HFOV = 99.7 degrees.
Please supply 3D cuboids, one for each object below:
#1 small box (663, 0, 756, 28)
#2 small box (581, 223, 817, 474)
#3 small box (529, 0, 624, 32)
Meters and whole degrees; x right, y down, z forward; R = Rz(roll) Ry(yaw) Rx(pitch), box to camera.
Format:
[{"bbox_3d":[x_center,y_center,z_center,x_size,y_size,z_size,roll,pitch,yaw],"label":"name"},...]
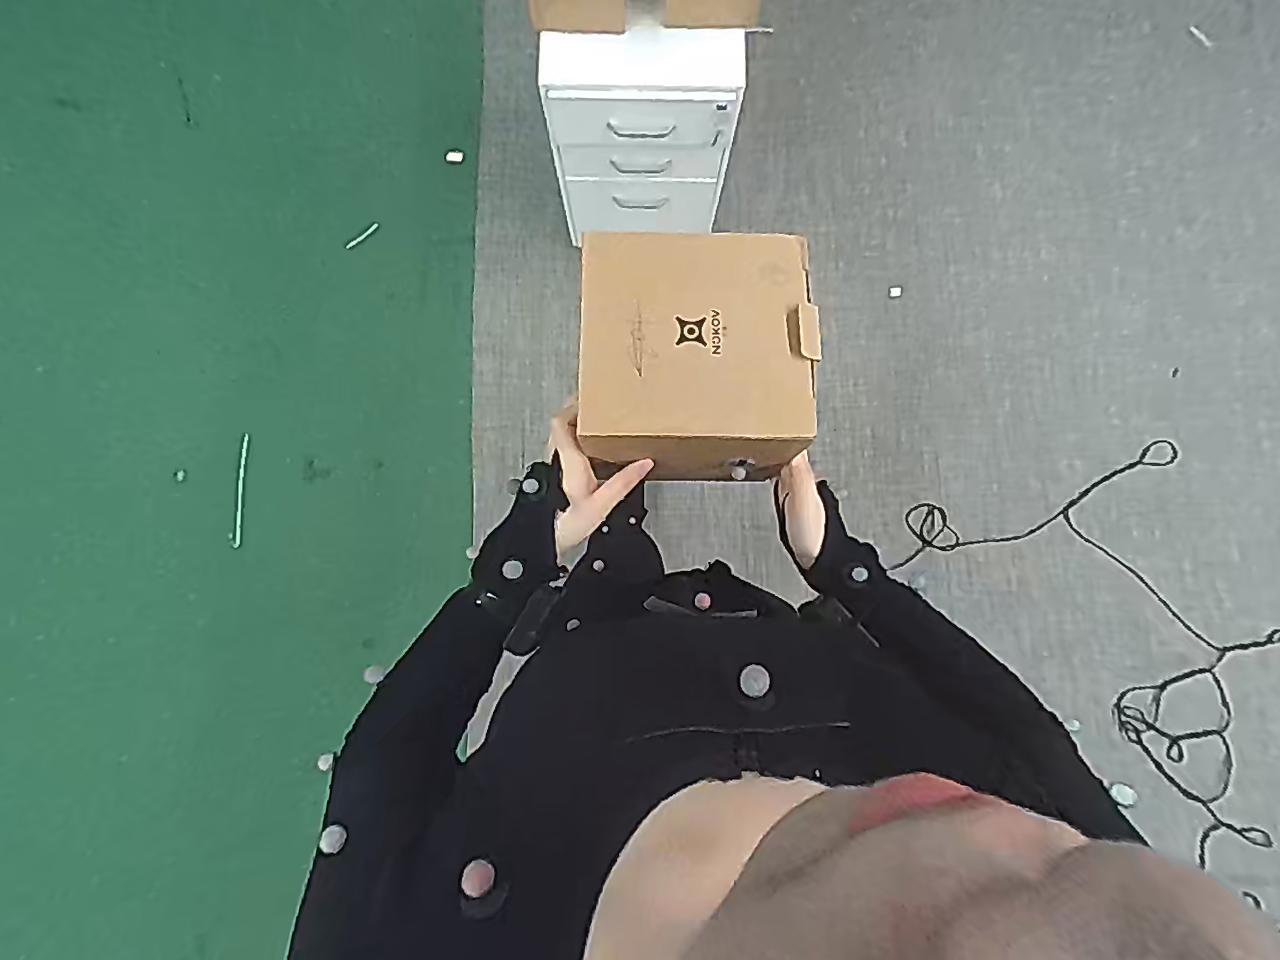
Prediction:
[{"bbox_3d":[0.131,-0.963,0.975,0.179,0.176,0.168,1,83,0],"label":"small box"},{"bbox_3d":[0.044,-0.104,0.487,0.179,0.176,0.168,0,78,0],"label":"small box"},{"bbox_3d":[-0.117,-0.952,0.970,0.179,0.176,0.168,1,83,-2],"label":"small box"}]
